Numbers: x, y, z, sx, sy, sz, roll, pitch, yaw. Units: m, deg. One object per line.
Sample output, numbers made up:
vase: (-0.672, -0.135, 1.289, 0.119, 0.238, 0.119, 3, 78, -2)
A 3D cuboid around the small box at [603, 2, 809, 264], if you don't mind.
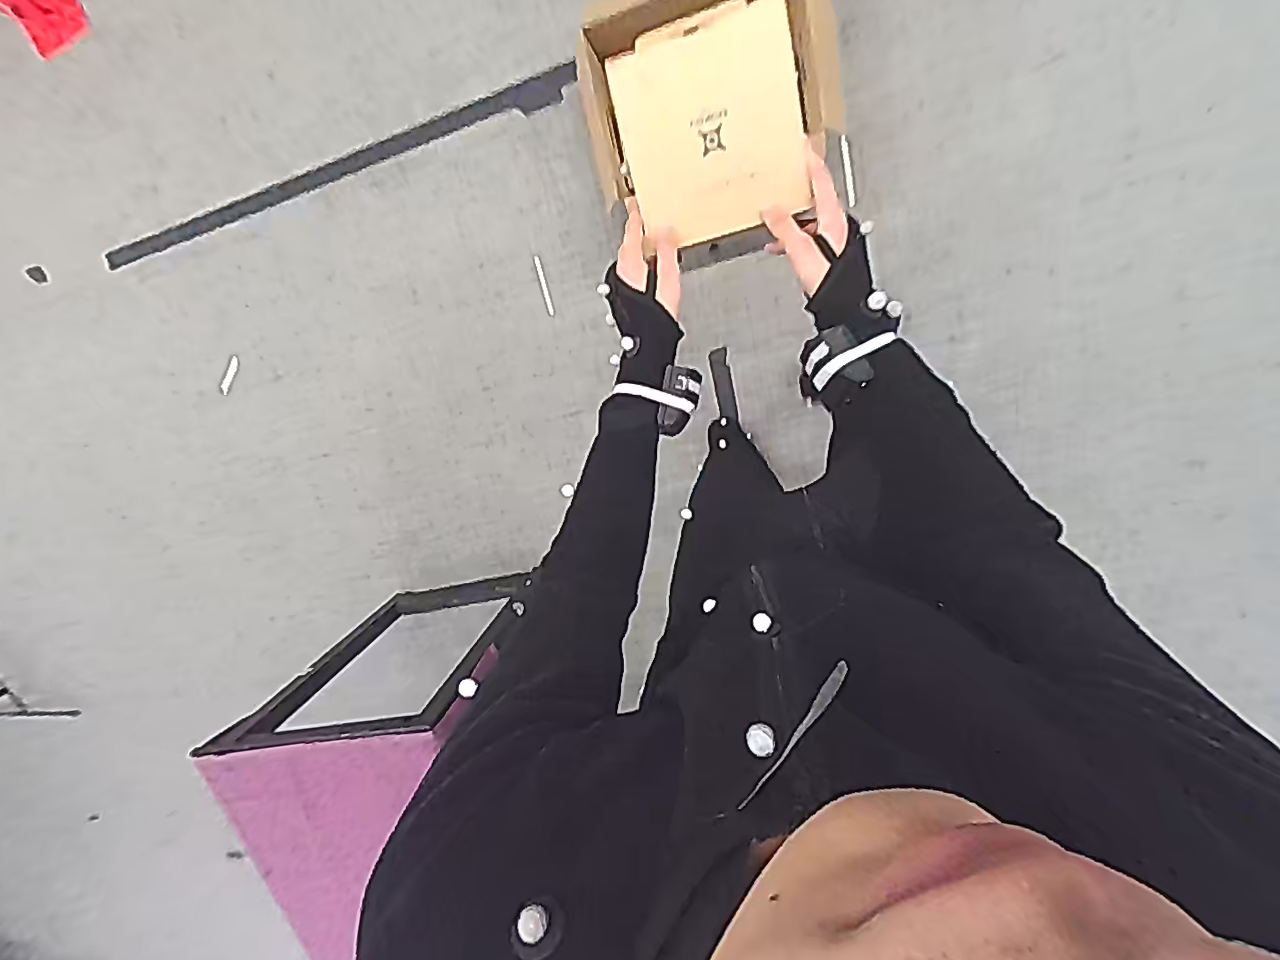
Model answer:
small box: (0.073, -0.345, 0.582, 0.168, 0.176, 0.179, -12, 107, 13)
